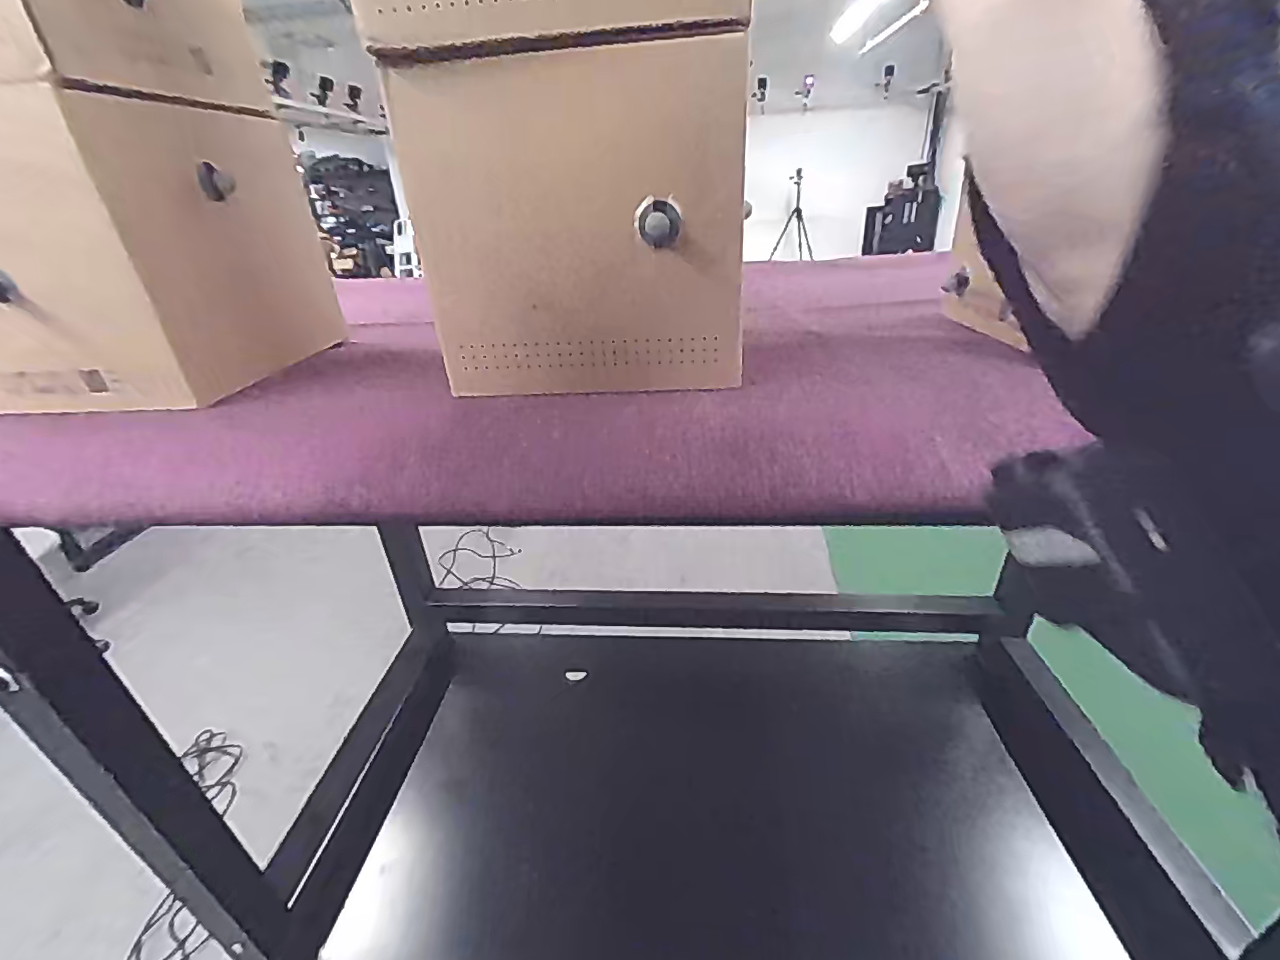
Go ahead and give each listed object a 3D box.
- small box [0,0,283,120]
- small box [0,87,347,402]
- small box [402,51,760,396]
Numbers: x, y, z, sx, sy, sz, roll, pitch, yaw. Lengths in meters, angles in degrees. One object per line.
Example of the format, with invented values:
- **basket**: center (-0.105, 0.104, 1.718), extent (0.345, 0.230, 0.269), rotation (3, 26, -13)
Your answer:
- **small box**: center (-0.355, -0.302, 0.306), extent (0.179, 0.176, 0.168), rotation (-1, 29, 2)
- **small box**: center (-0.343, -0.159, 0.384), extent (0.168, 0.176, 0.179), rotation (0, 28, 4)
- **small box**: center (-0.022, -0.162, 0.365), extent (0.179, 0.176, 0.168), rotation (-2, 27, 4)
